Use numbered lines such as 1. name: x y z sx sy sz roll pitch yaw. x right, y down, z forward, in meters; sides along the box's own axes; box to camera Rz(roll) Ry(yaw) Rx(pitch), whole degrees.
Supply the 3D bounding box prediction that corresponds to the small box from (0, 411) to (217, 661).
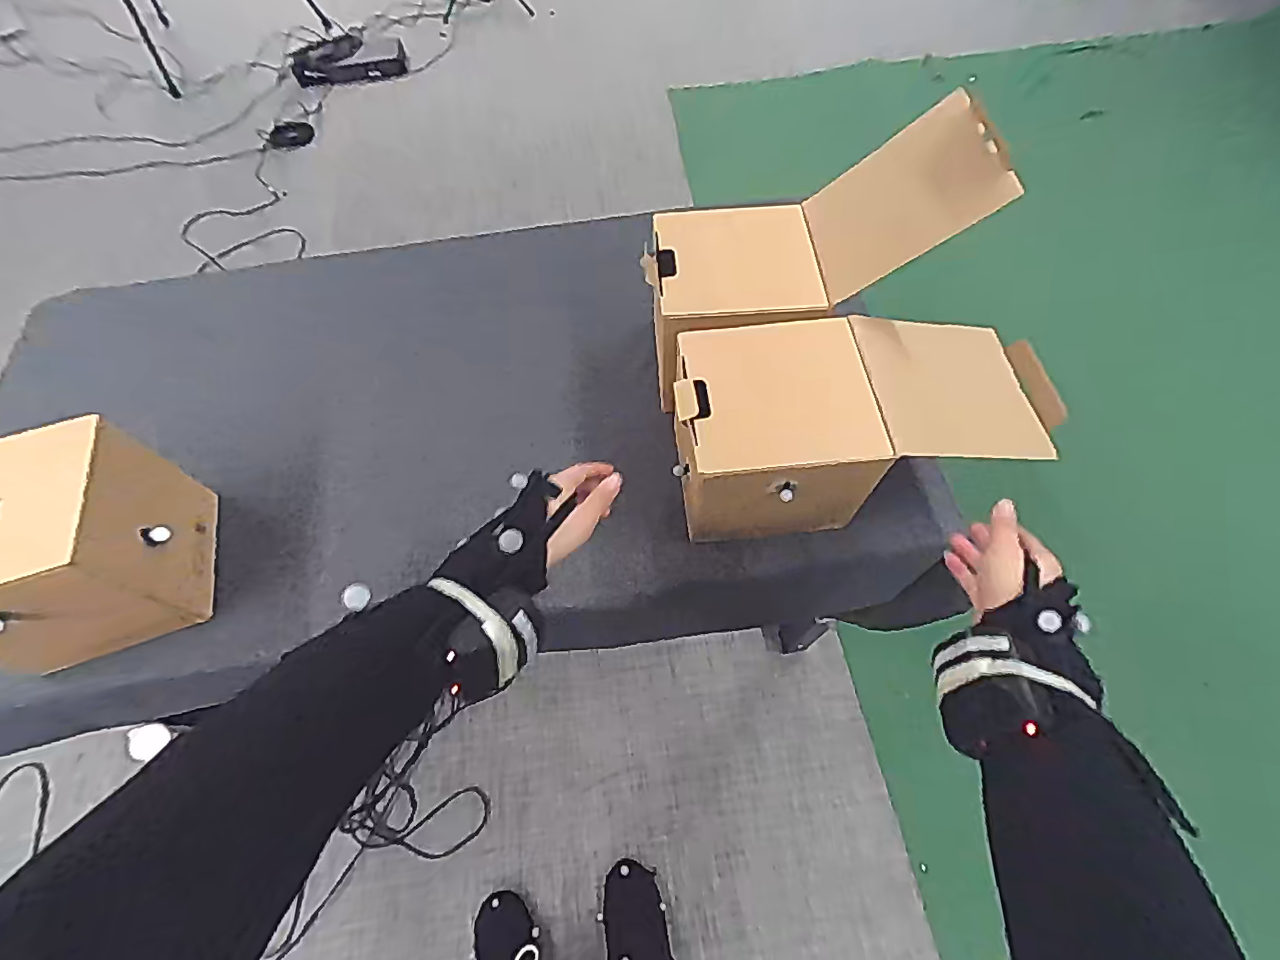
1. small box: -0.570 0.063 0.542 0.179 0.176 0.168 -18 62 -7
